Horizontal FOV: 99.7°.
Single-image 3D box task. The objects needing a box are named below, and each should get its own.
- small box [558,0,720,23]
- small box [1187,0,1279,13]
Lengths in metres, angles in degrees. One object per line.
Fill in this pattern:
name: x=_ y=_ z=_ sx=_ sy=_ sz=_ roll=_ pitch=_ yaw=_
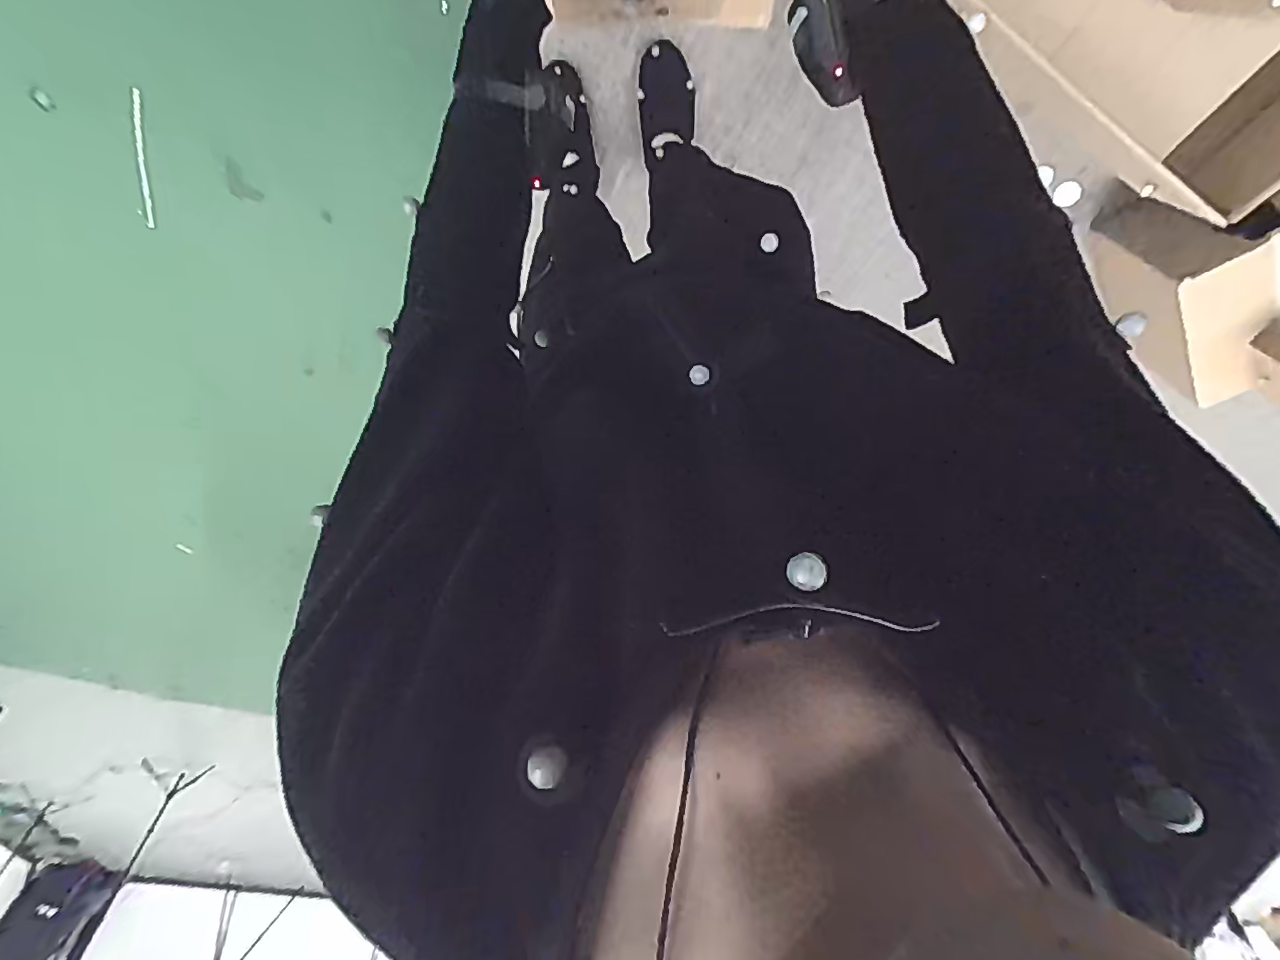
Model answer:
small box: x=-0.005 y=-0.521 z=0.435 sx=0.168 sy=0.176 sz=0.179 roll=-4 pitch=104 yaw=1
small box: x=0.659 y=-0.637 z=0.558 sx=0.168 sy=0.176 sz=0.179 roll=21 pitch=132 yaw=-17
